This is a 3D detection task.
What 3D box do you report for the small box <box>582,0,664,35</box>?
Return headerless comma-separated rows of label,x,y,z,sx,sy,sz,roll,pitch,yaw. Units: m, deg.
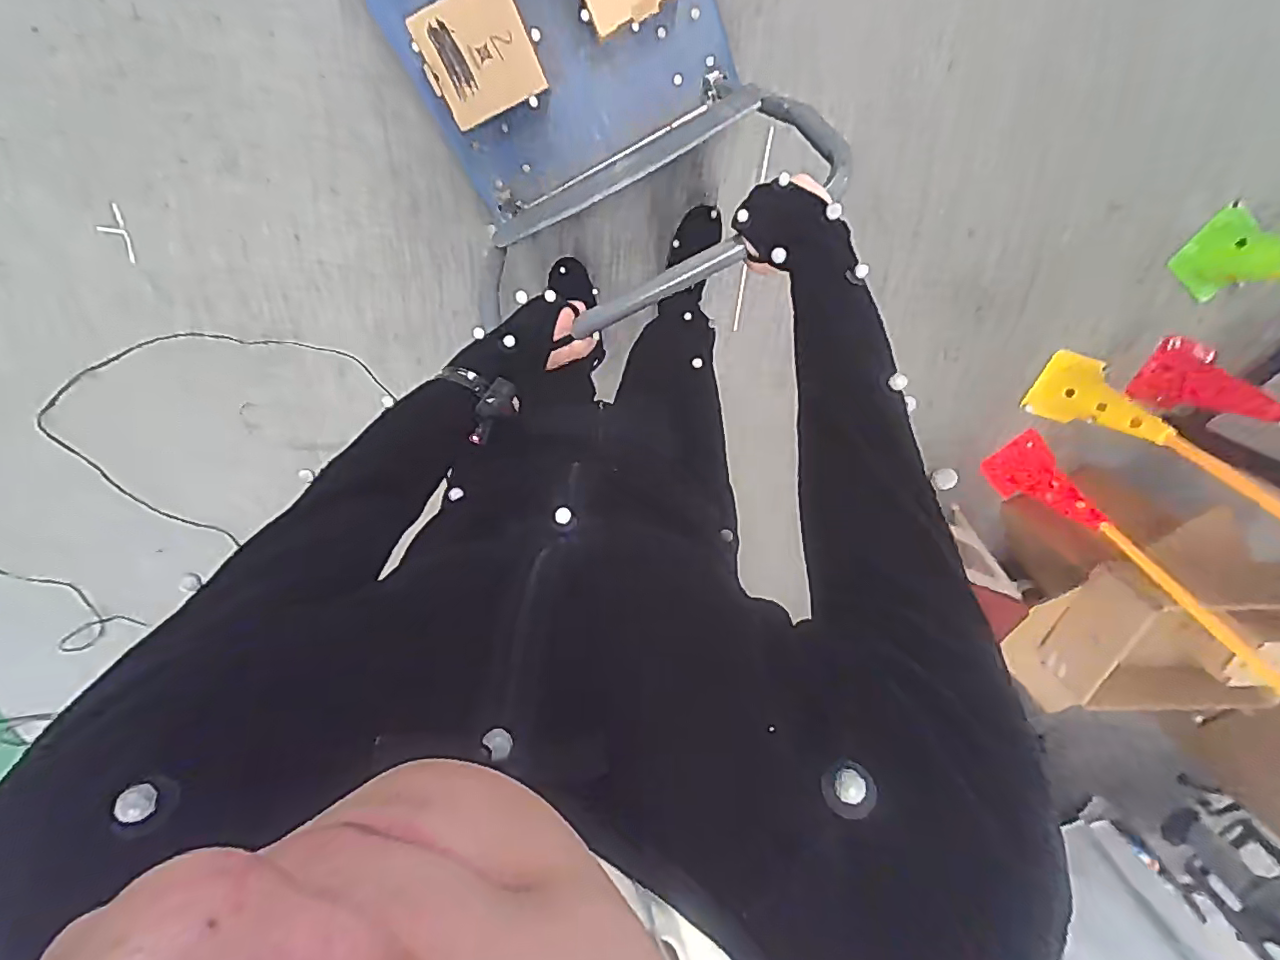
small box,-0.036,-0.879,0.895,0.168,0.176,0.179,-24,127,11
